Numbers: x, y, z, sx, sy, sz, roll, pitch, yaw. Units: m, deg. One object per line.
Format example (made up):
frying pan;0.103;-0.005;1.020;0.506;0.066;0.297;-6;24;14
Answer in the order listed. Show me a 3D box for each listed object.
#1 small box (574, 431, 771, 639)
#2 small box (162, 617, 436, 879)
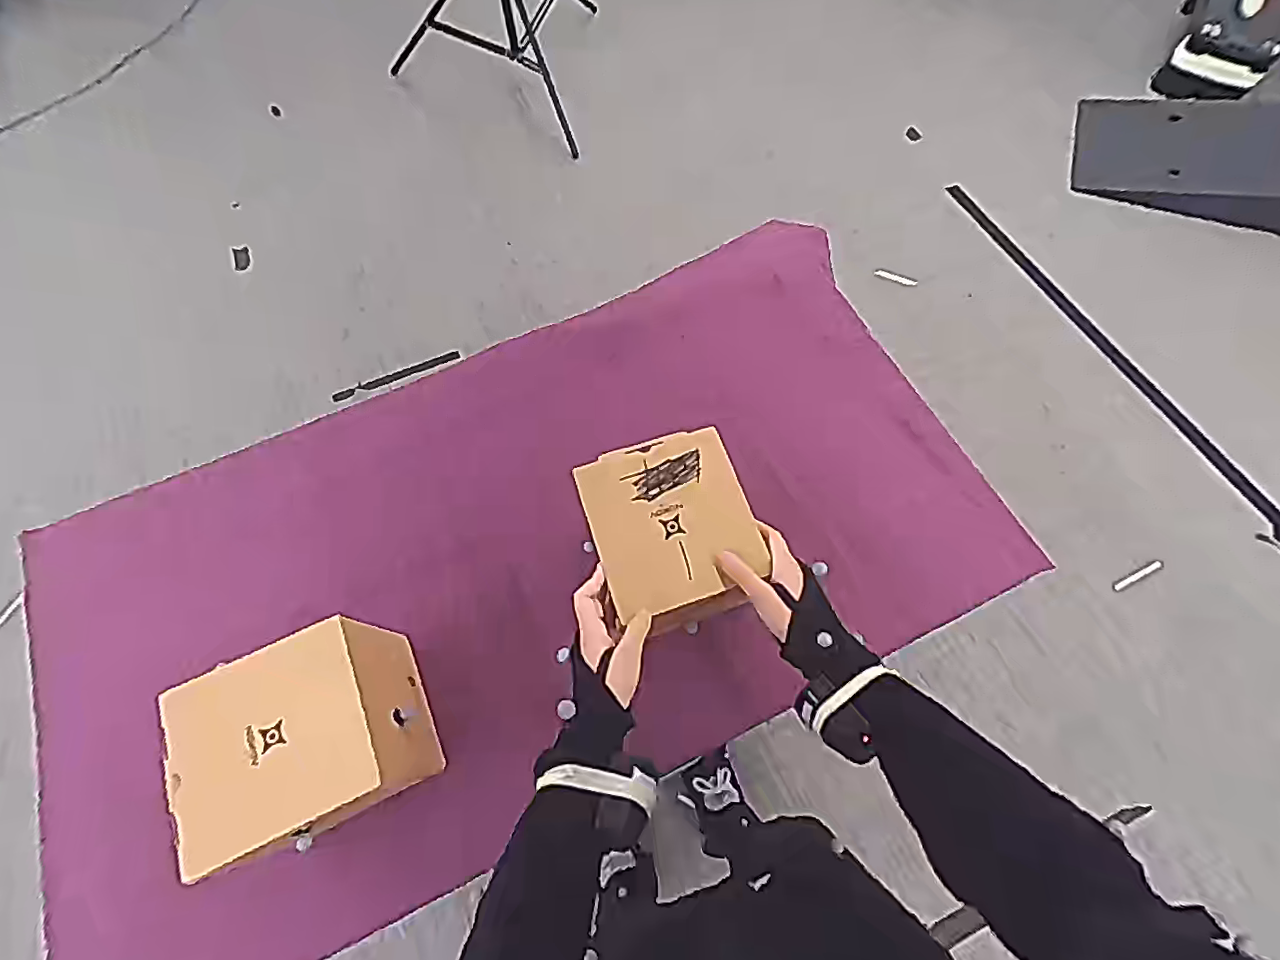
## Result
small box;0.030;0.073;0.636;0.168;0.176;0.179;-18;69;-5
small box;-0.336;0.263;0.568;0.179;0.176;0.168;-25;70;-8
